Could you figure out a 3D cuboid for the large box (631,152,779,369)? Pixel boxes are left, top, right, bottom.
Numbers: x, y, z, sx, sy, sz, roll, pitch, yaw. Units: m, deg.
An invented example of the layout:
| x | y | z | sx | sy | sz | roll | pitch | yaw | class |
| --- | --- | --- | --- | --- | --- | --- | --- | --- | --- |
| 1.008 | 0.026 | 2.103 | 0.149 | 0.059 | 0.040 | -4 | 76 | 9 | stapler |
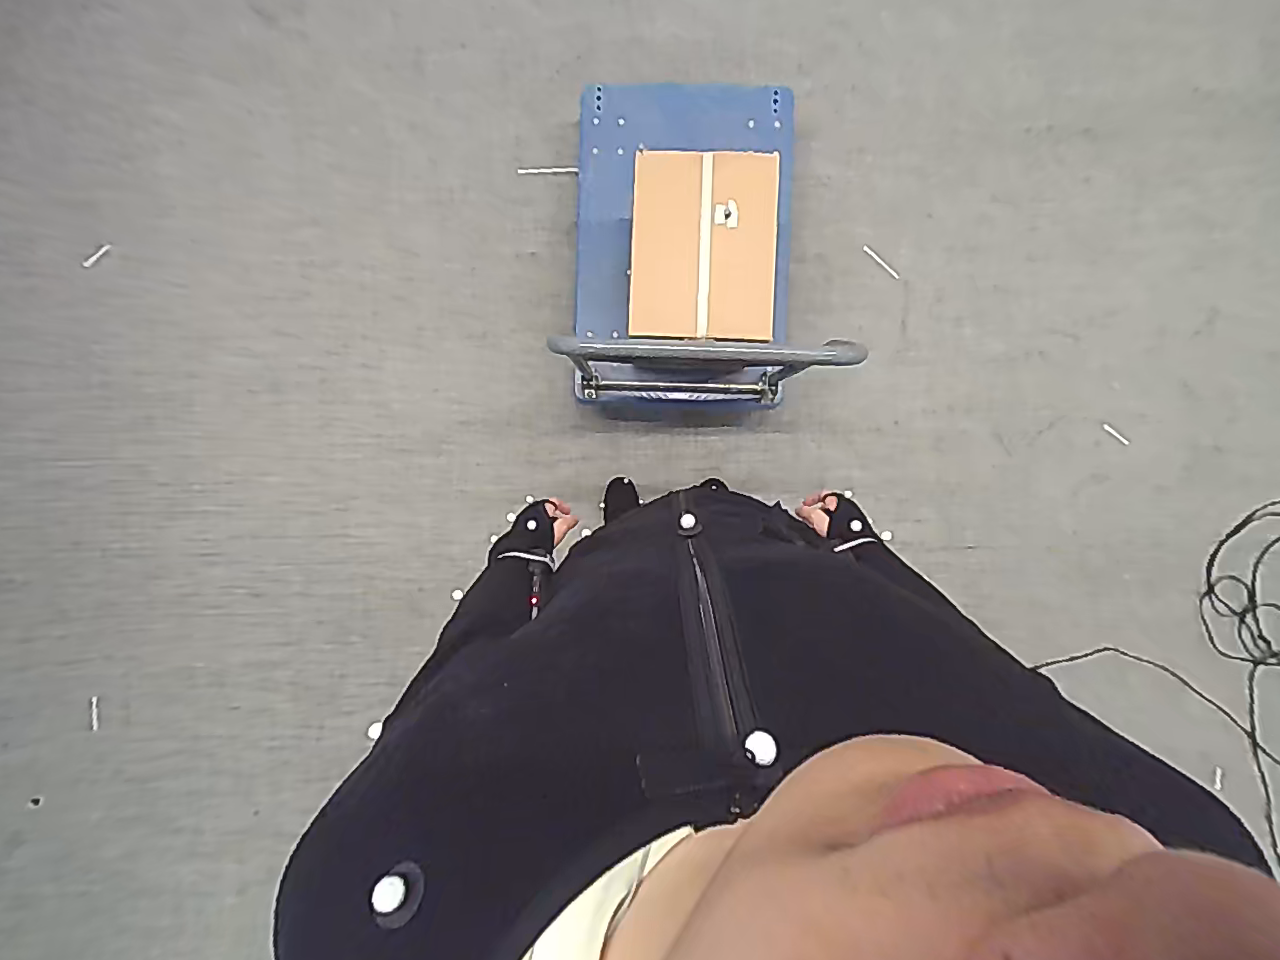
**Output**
| x | y | z | sx | sy | sz | roll | pitch | yaw | class |
| --- | --- | --- | --- | --- | --- | --- | --- | --- | --- |
| 0.144 | -0.497 | 1.303 | 0.320 | 0.320 | 0.408 | 2 | 89 | 0 | large box |
